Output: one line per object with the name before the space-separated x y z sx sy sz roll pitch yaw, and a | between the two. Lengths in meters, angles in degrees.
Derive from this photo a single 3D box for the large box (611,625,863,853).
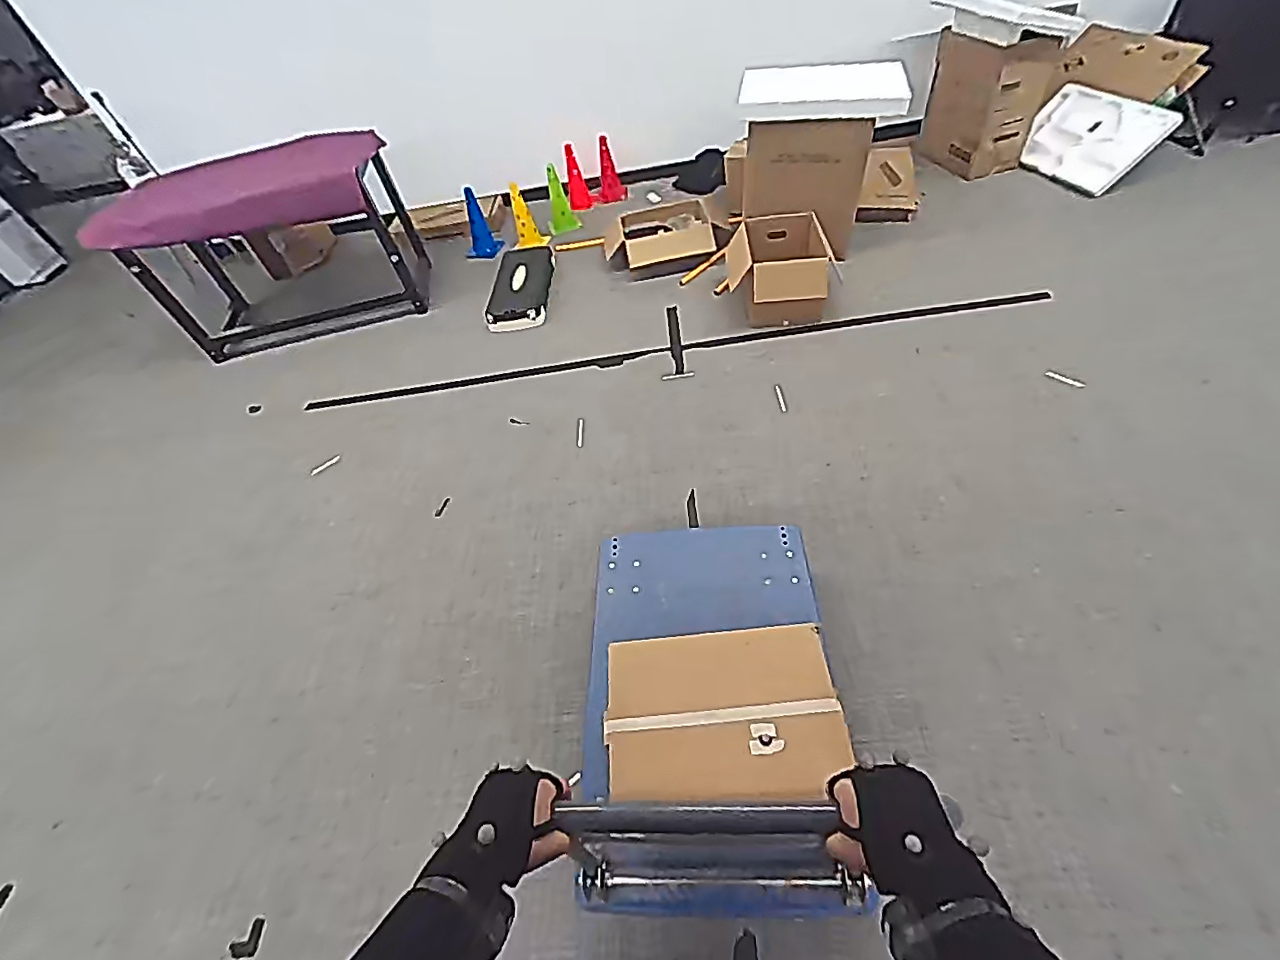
large box | 0.165 0.519 1.072 0.408 0.320 0.320 -7 50 3
